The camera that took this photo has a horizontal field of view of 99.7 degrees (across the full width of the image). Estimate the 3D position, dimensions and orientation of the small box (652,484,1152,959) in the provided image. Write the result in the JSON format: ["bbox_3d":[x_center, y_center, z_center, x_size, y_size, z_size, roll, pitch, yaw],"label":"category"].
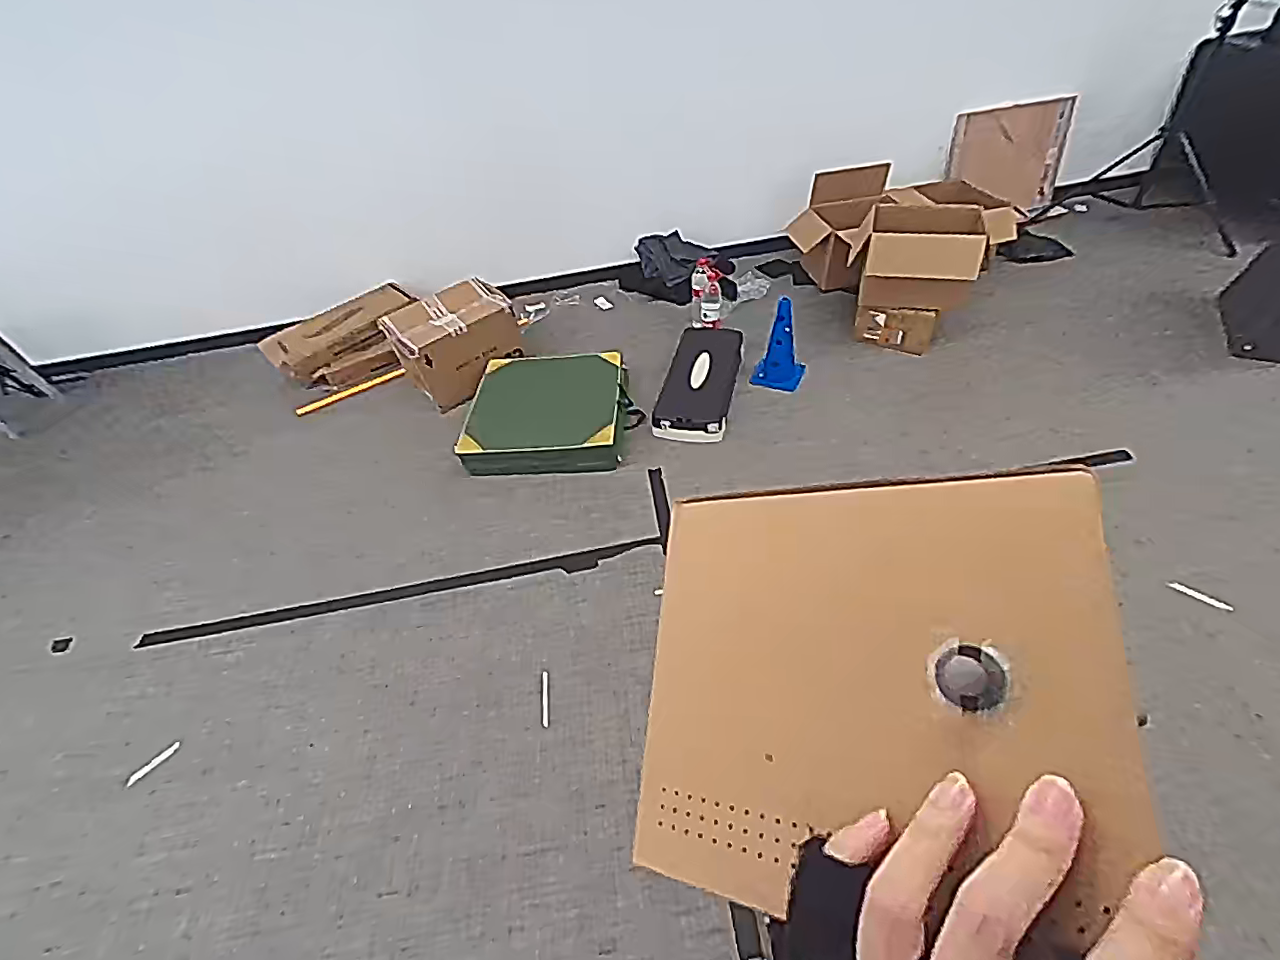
[{"bbox_3d":[0.126,0.113,0.274,0.179,0.168,0.176,-7,65,34],"label":"small box"}]
